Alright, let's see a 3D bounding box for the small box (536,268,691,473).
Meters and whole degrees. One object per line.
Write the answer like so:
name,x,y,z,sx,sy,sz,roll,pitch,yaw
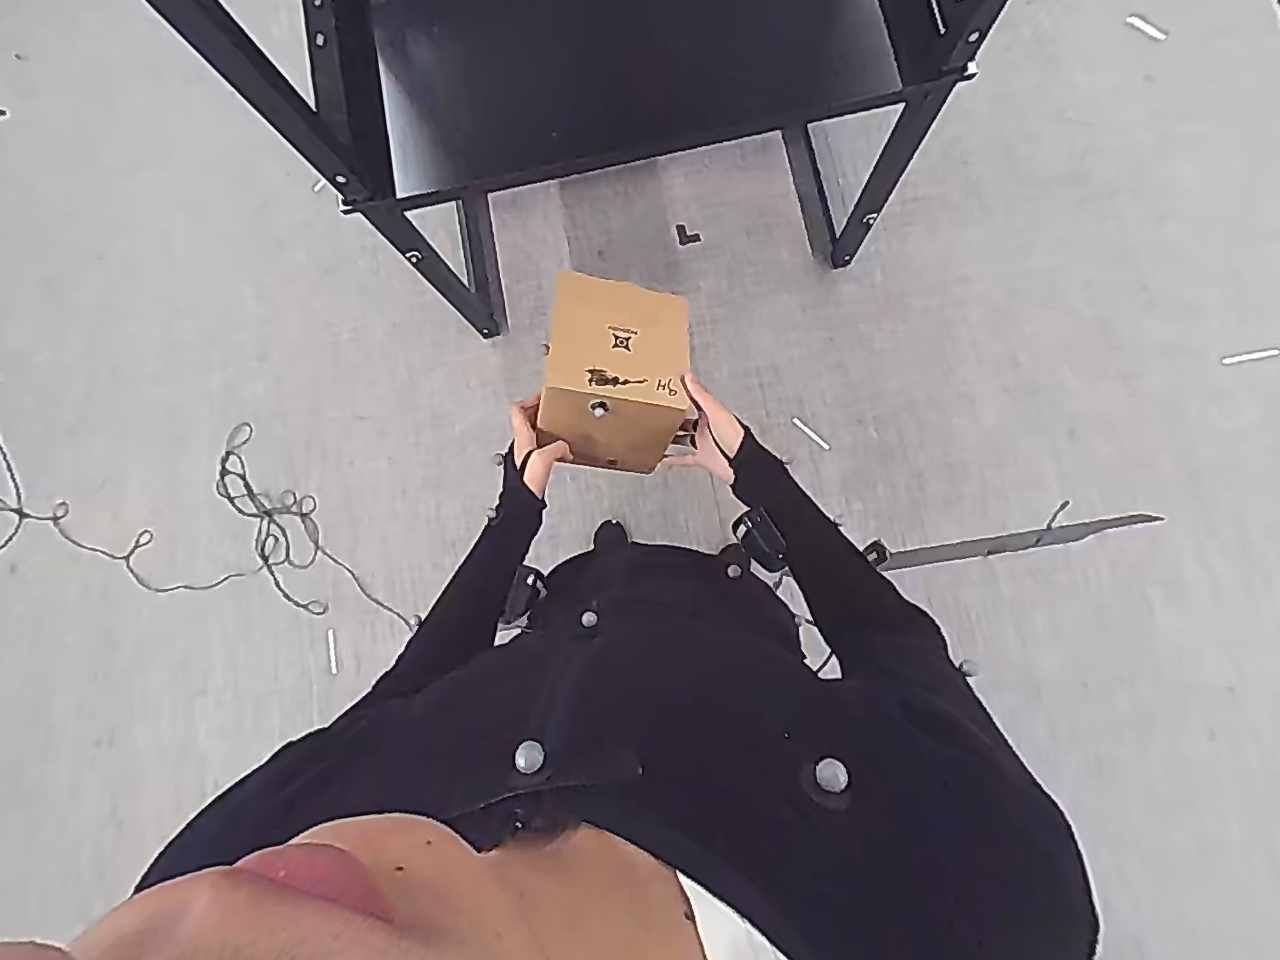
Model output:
small box,-0.039,-0.132,0.698,0.168,0.176,0.179,9,61,-11
